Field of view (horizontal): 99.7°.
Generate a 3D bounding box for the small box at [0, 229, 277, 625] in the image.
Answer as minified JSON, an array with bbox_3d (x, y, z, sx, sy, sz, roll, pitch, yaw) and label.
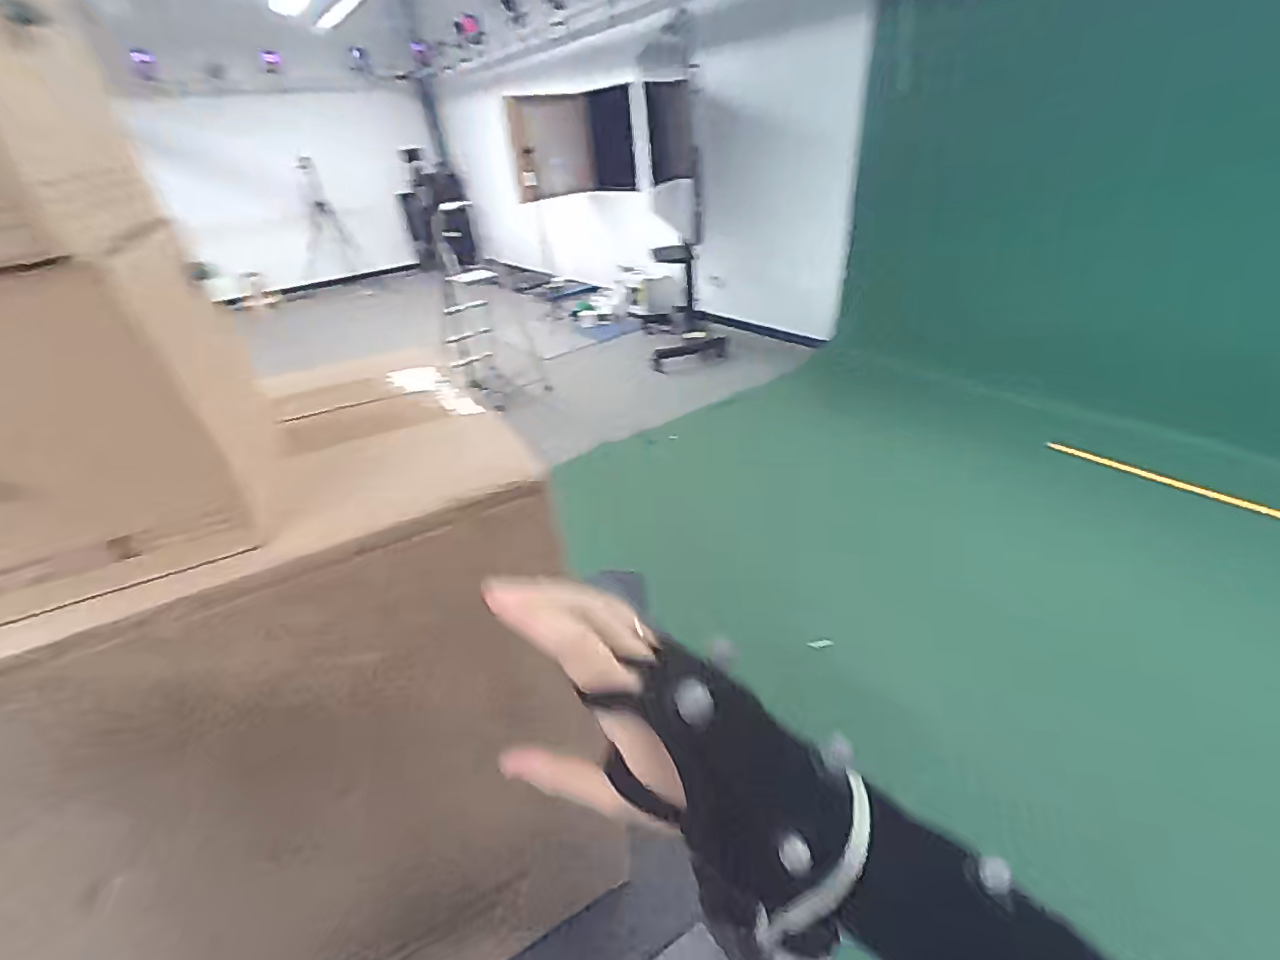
[{"bbox_3d":[-0.342,-0.035,0.319,0.168,0.176,0.179,-19,36,-20],"label":"small box"}]
